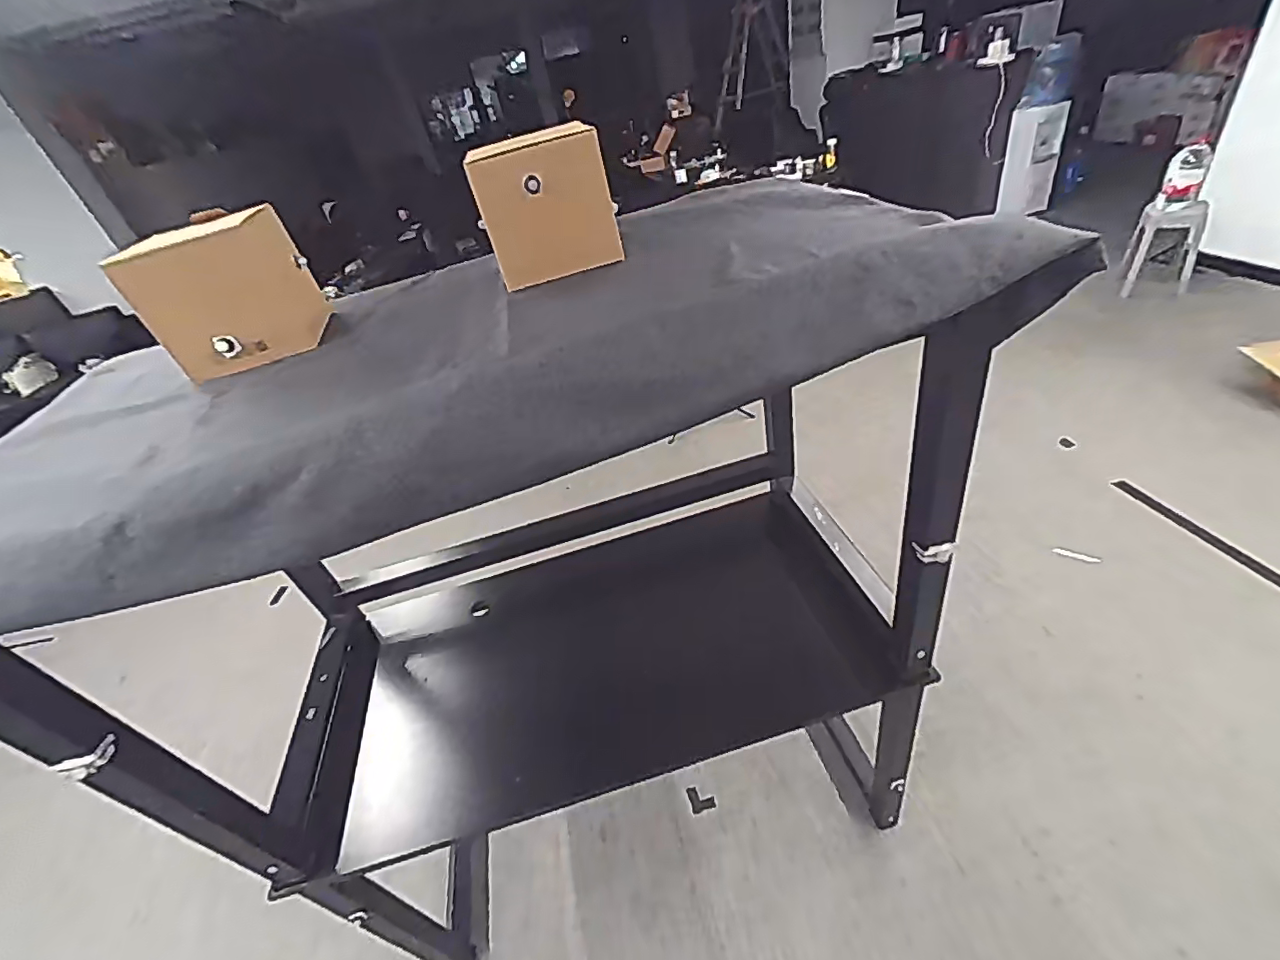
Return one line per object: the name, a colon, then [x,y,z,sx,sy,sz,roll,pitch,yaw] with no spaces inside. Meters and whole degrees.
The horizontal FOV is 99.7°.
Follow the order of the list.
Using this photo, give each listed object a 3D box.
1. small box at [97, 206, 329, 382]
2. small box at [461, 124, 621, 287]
small box: [-0.565,-0.260,0.752,0.168,0.176,0.179,-21,37,-7]
small box: [-0.139,-0.397,0.785,0.179,0.176,0.168,-16,37,-3]
